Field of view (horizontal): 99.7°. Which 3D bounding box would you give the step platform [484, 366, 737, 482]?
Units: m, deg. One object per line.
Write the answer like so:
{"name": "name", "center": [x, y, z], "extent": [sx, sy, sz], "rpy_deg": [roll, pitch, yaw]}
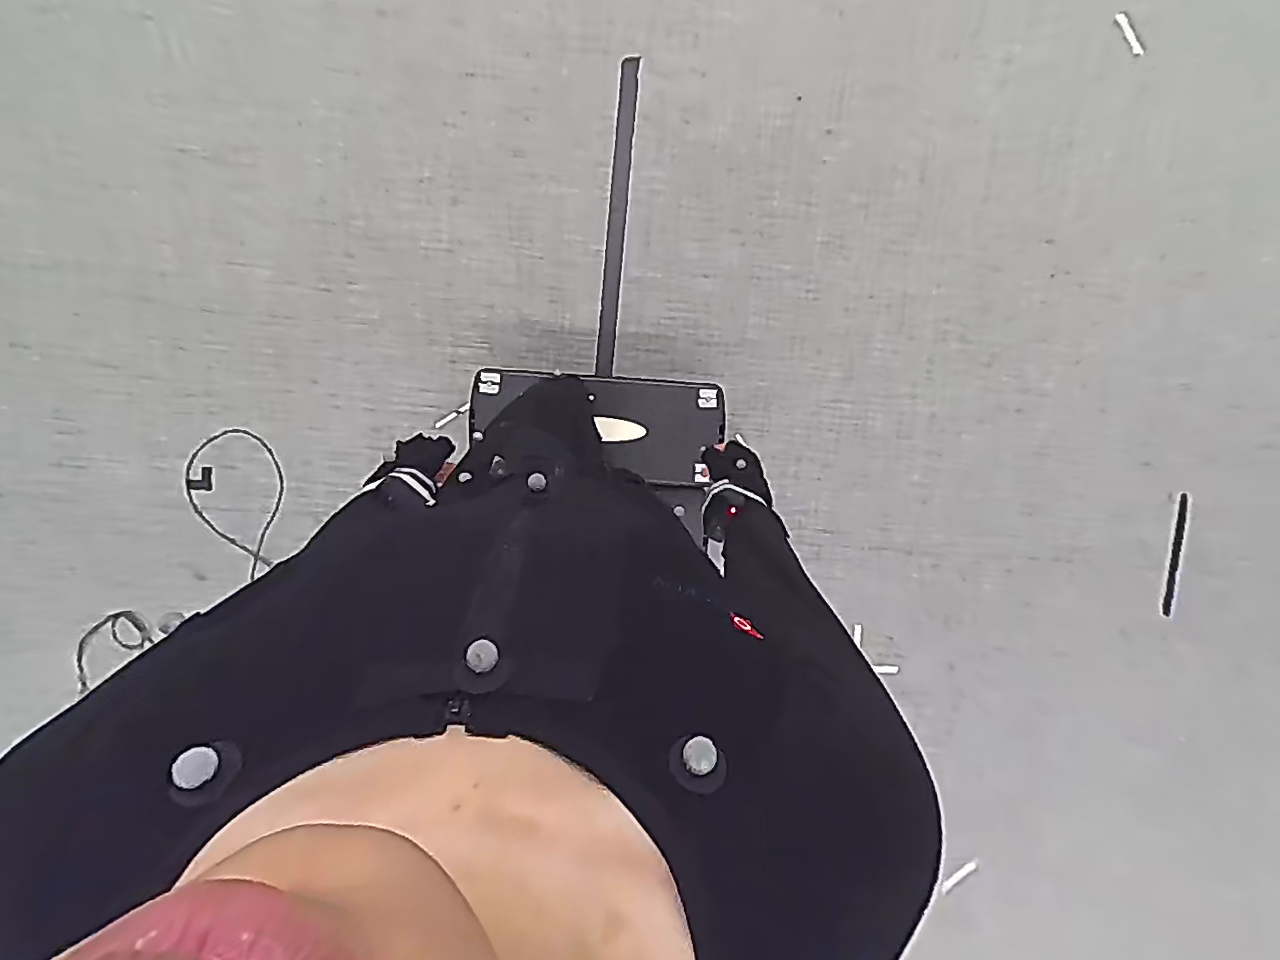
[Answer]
{"name": "step platform", "center": [-0.077, -0.152, 1.495], "extent": [0.684, 0.204, 0.286], "rpy_deg": [3, 96, -4]}
